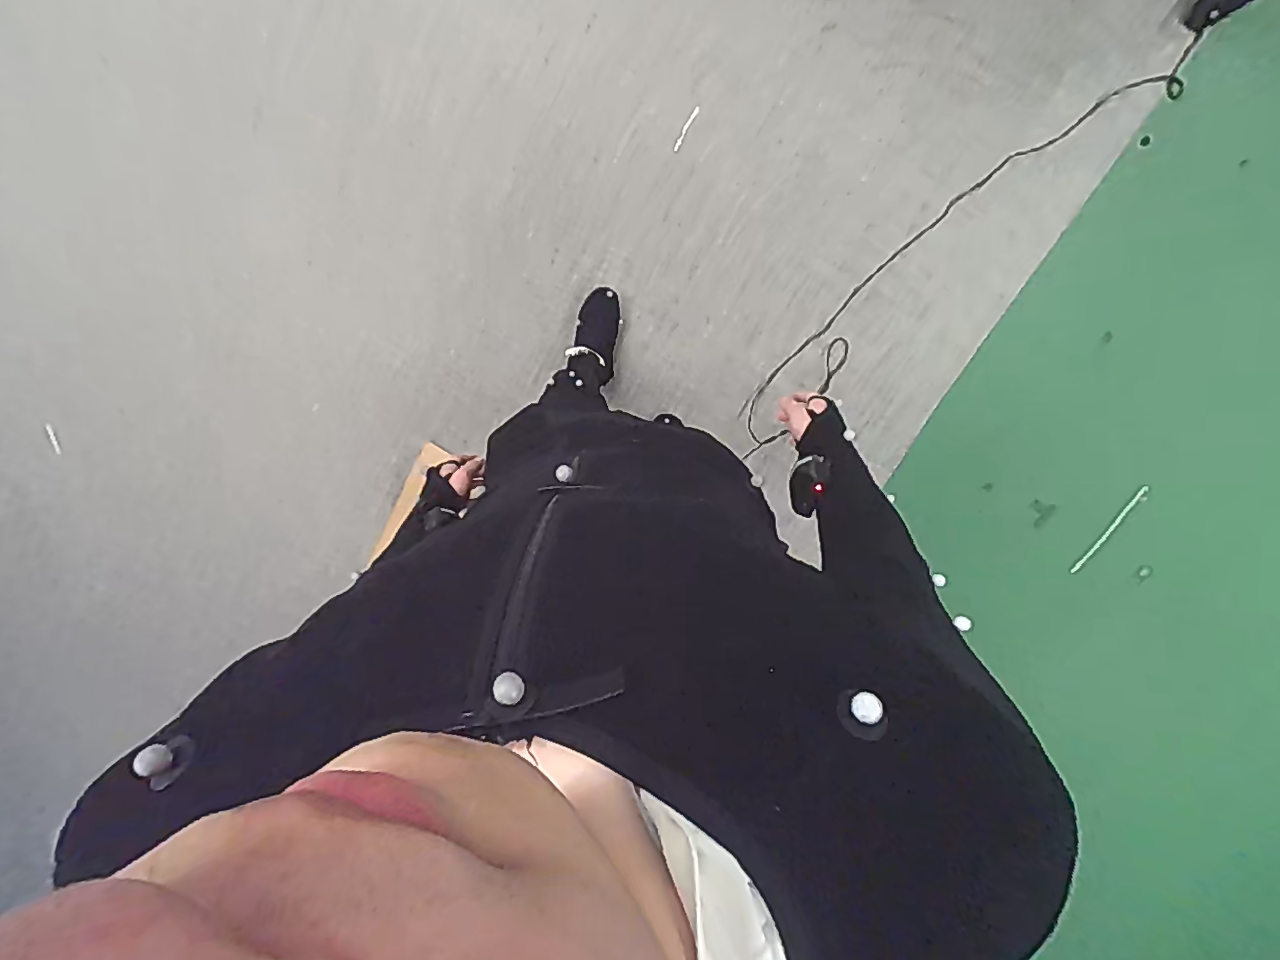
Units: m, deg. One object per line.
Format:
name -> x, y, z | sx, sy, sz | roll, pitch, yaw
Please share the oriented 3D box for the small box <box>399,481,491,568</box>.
small box -> -0.567, 0.123, 1.597 | 0.179, 0.176, 0.168 | 31, 103, -6
